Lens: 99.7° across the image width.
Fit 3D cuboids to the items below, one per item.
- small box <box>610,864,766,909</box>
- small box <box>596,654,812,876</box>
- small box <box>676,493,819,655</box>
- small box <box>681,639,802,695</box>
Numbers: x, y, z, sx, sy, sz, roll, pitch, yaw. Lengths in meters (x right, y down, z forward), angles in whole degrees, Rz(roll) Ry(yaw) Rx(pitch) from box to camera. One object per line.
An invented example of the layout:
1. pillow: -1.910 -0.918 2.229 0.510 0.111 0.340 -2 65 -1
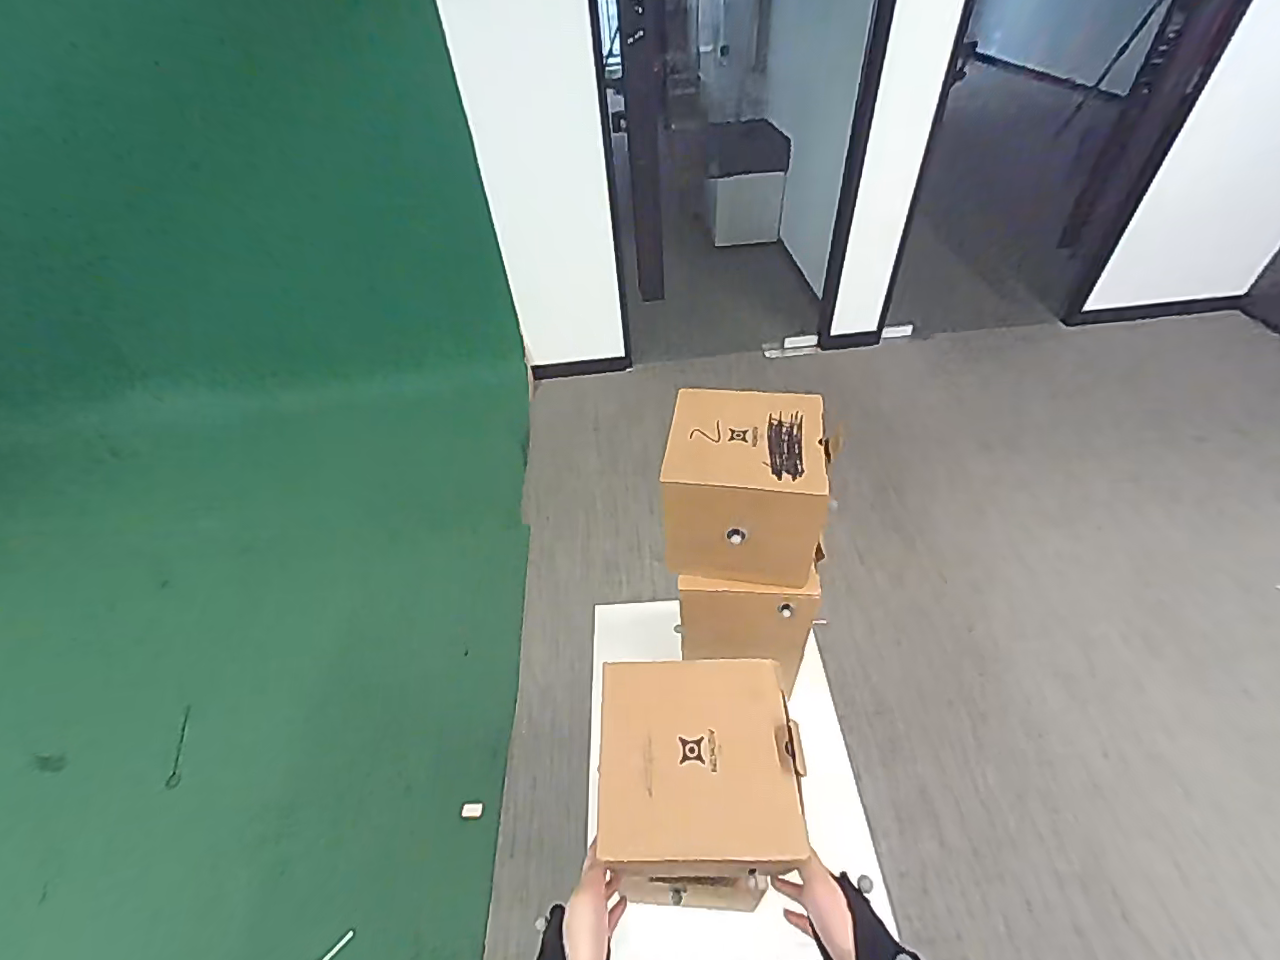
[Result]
1. small box: 0.063 0.440 0.707 0.179 0.176 0.168 1 45 5
2. small box: 0.056 0.288 0.544 0.179 0.176 0.168 -3 49 3
3. small box: 0.145 0.136 0.773 0.179 0.176 0.168 1 46 6
4. small box: 0.161 0.247 0.891 0.179 0.176 0.168 1 46 7
